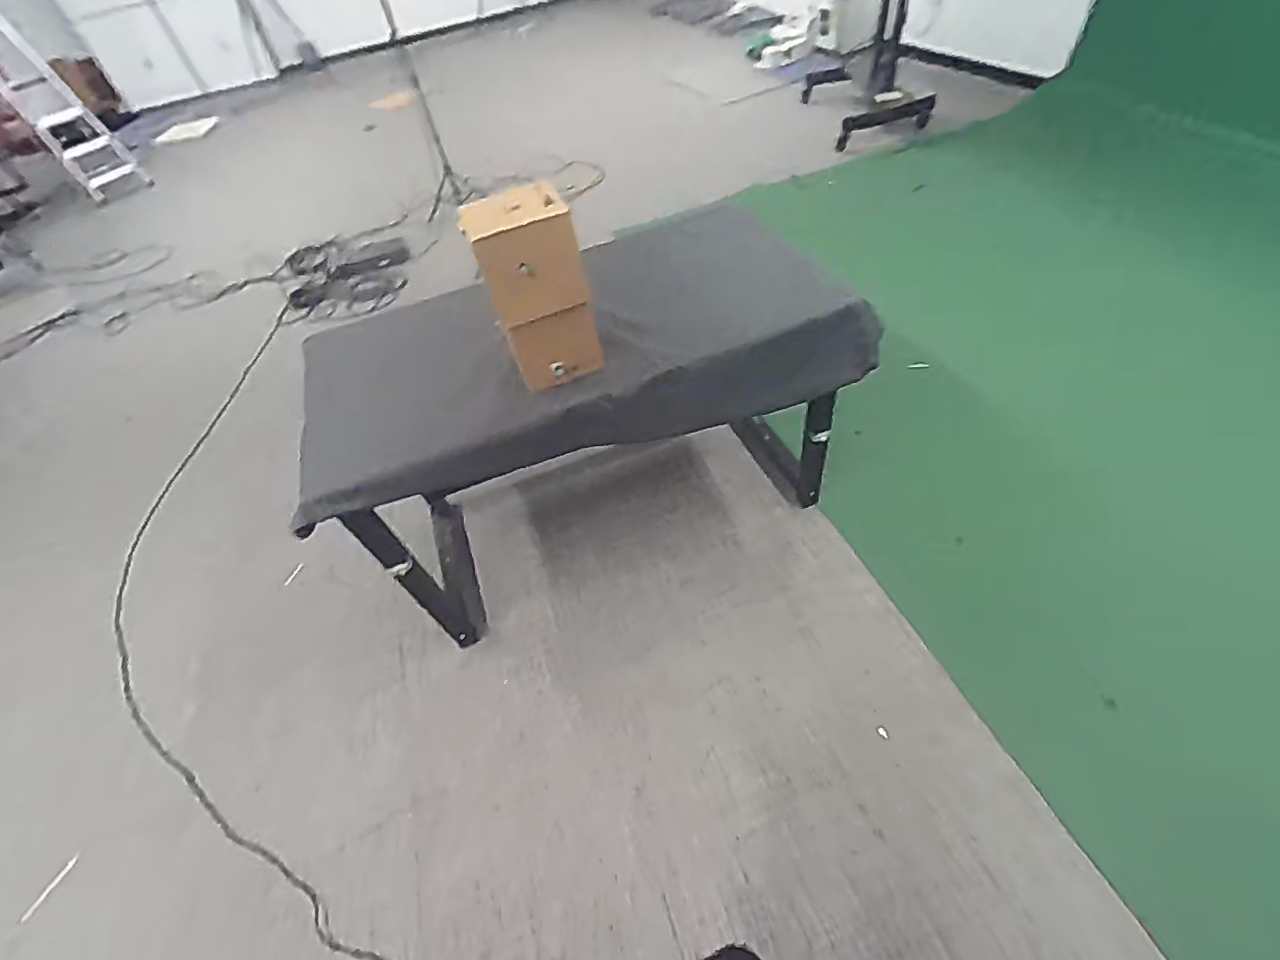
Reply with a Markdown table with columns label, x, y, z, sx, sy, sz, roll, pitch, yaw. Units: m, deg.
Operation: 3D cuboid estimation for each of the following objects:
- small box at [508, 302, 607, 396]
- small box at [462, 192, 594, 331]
| label | x | y | z | sx | sy | sz | roll | pitch | yaw |
| --- | --- | --- | --- | --- | --- | --- | --- | --- | --- |
| small box | -0.184 | -0.307 | 1.133 | 0.168 | 0.176 | 0.179 | -23 | 50 | -8 |
| small box | -0.205 | -0.402 | 1.004 | 0.179 | 0.176 | 0.168 | -23 | 47 | -9 |
